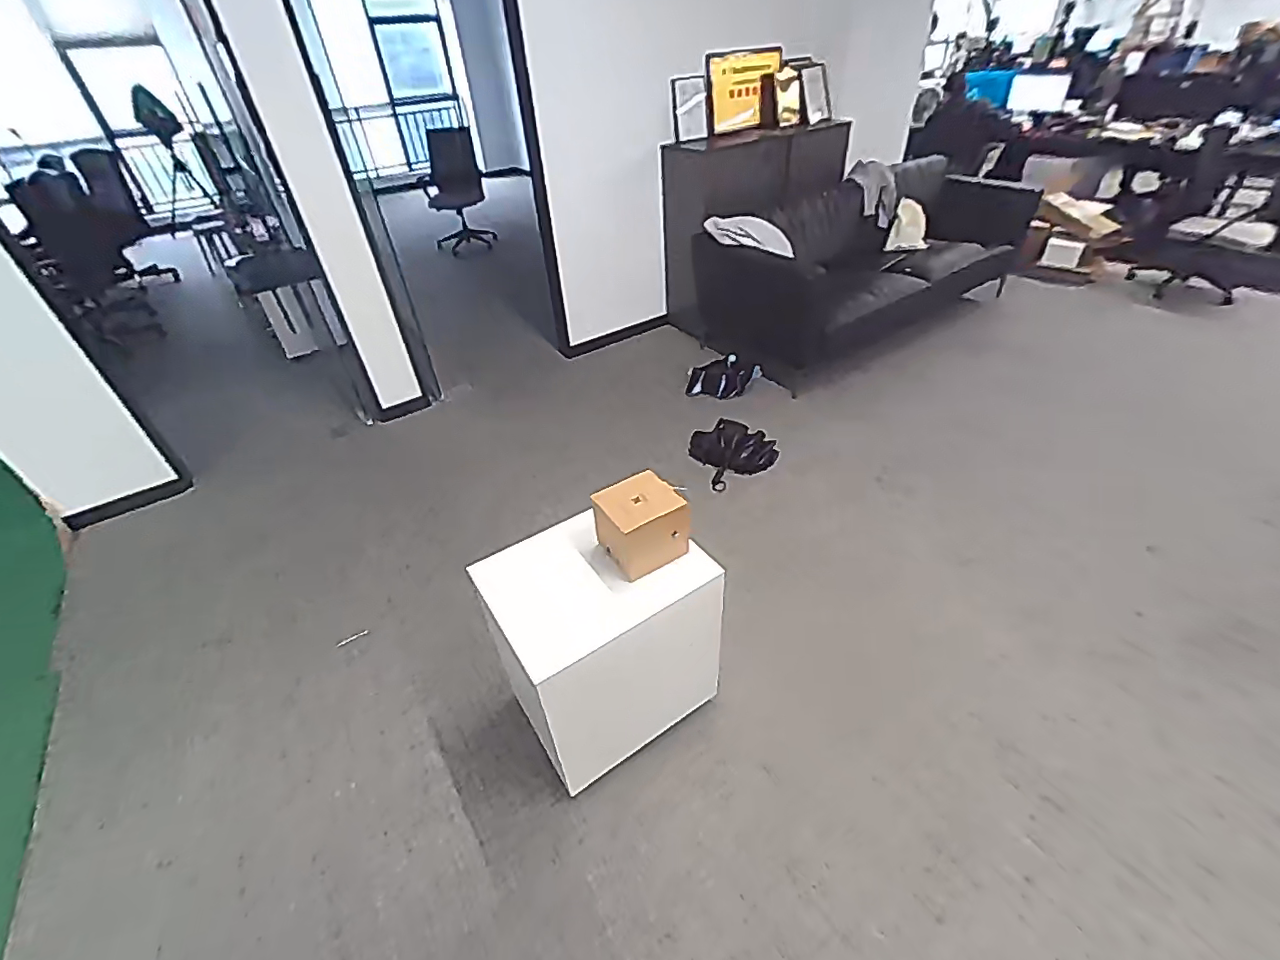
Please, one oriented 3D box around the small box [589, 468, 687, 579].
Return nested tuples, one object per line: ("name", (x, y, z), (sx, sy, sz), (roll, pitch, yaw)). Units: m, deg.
("small box", (-0.002, 0.105, 1.314), (0.179, 0.176, 0.168), (-26, 42, -22))
